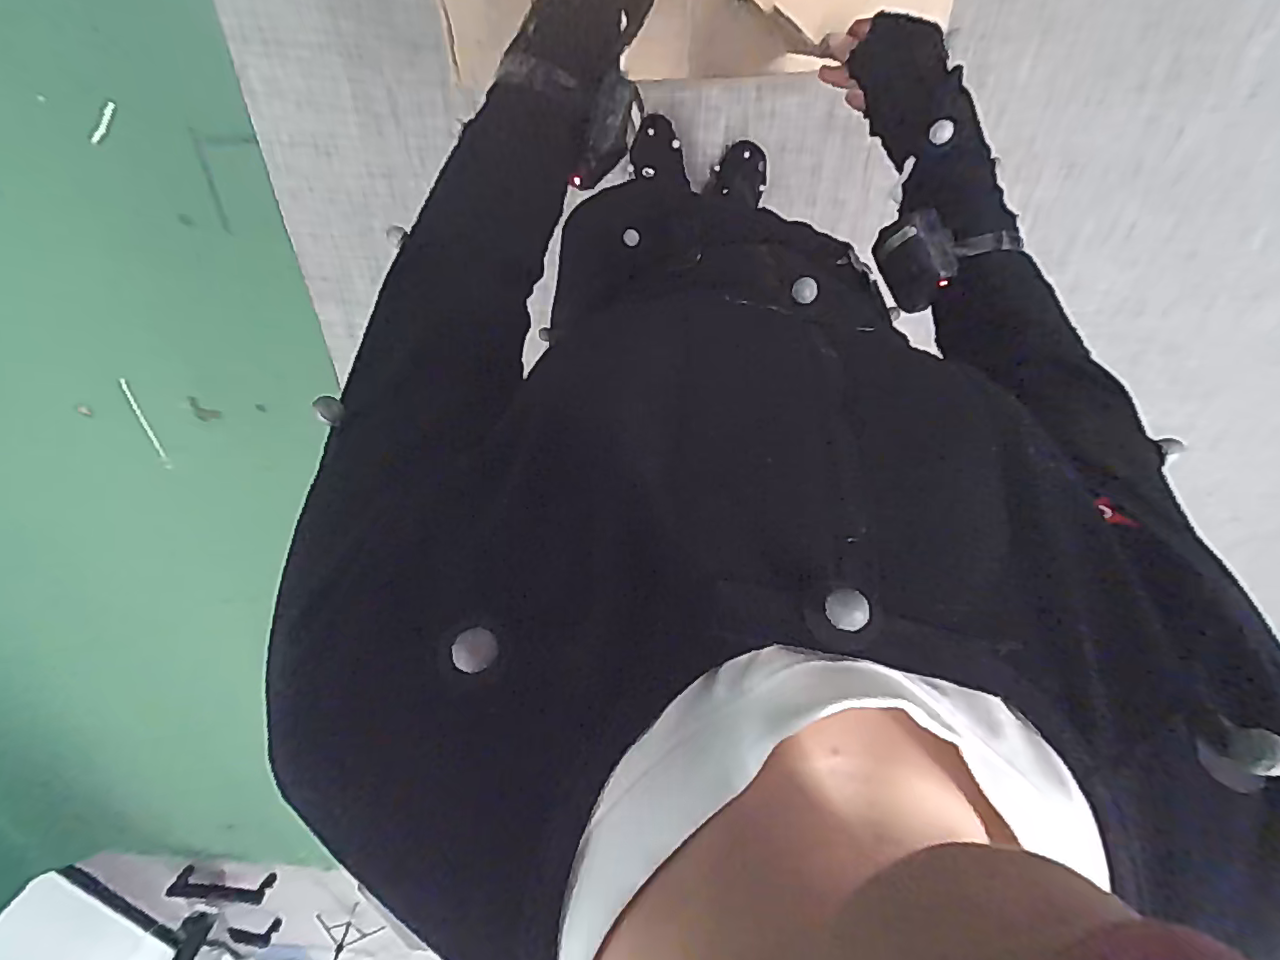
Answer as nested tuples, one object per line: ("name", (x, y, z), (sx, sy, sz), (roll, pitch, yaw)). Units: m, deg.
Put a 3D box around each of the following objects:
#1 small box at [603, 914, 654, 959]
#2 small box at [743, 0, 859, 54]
("small box", (-0.039, 1.594, 1.822), (0.168, 0.176, 0.179), (0, 126, 3))
("small box", (0.139, -0.496, 0.440), (0.168, 0.176, 0.179), (30, 125, -20))
